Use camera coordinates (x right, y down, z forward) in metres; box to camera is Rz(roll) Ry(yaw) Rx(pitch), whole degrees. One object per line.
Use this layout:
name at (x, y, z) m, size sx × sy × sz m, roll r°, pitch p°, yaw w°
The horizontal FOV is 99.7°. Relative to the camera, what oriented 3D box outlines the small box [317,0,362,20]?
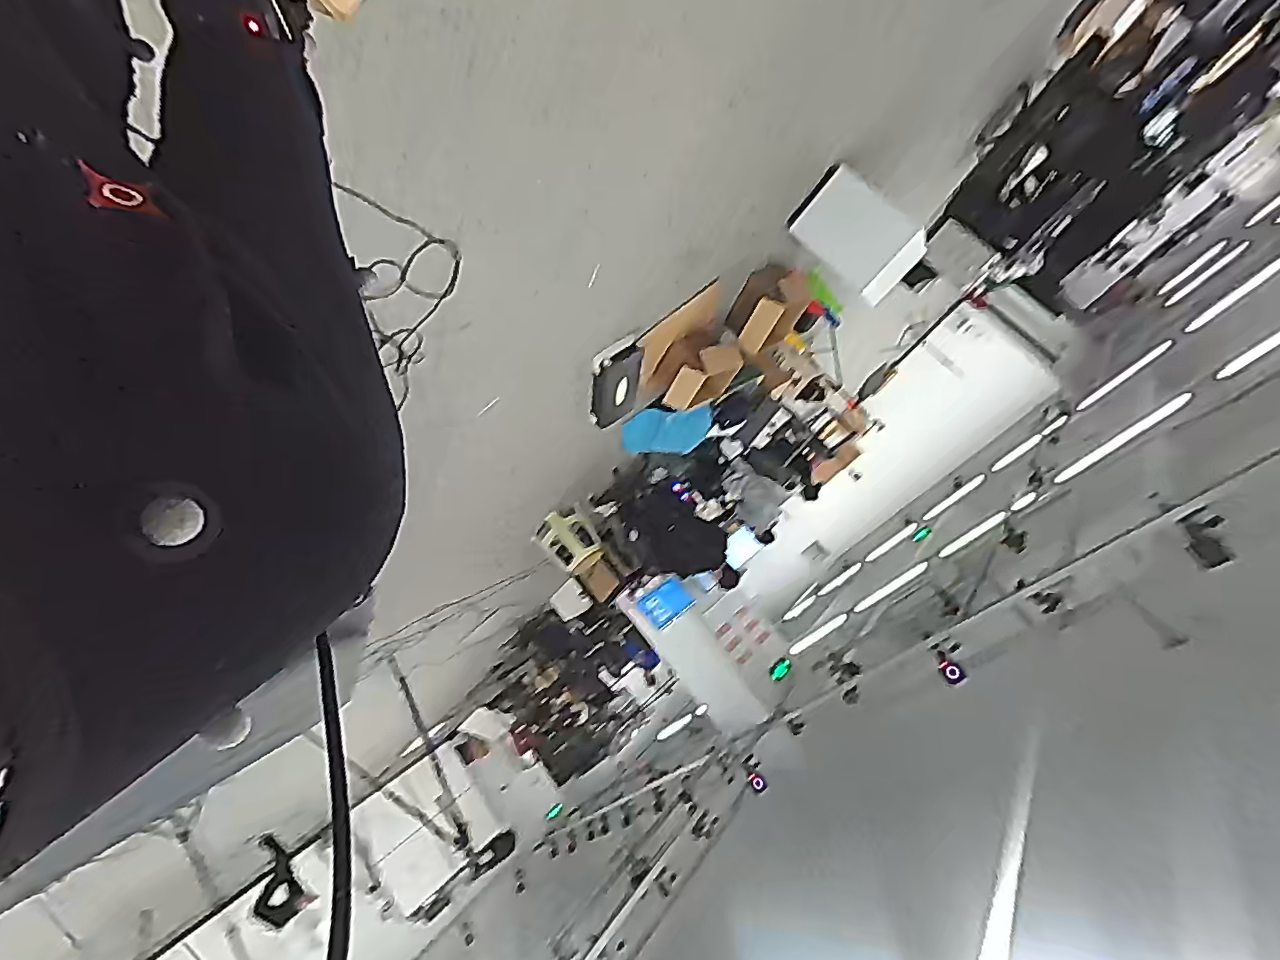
small box at (-0.305, -0.550, 0.453) m, size 0.179 × 0.176 × 0.168 m, roll -53°, pitch 154°, yaw 6°
